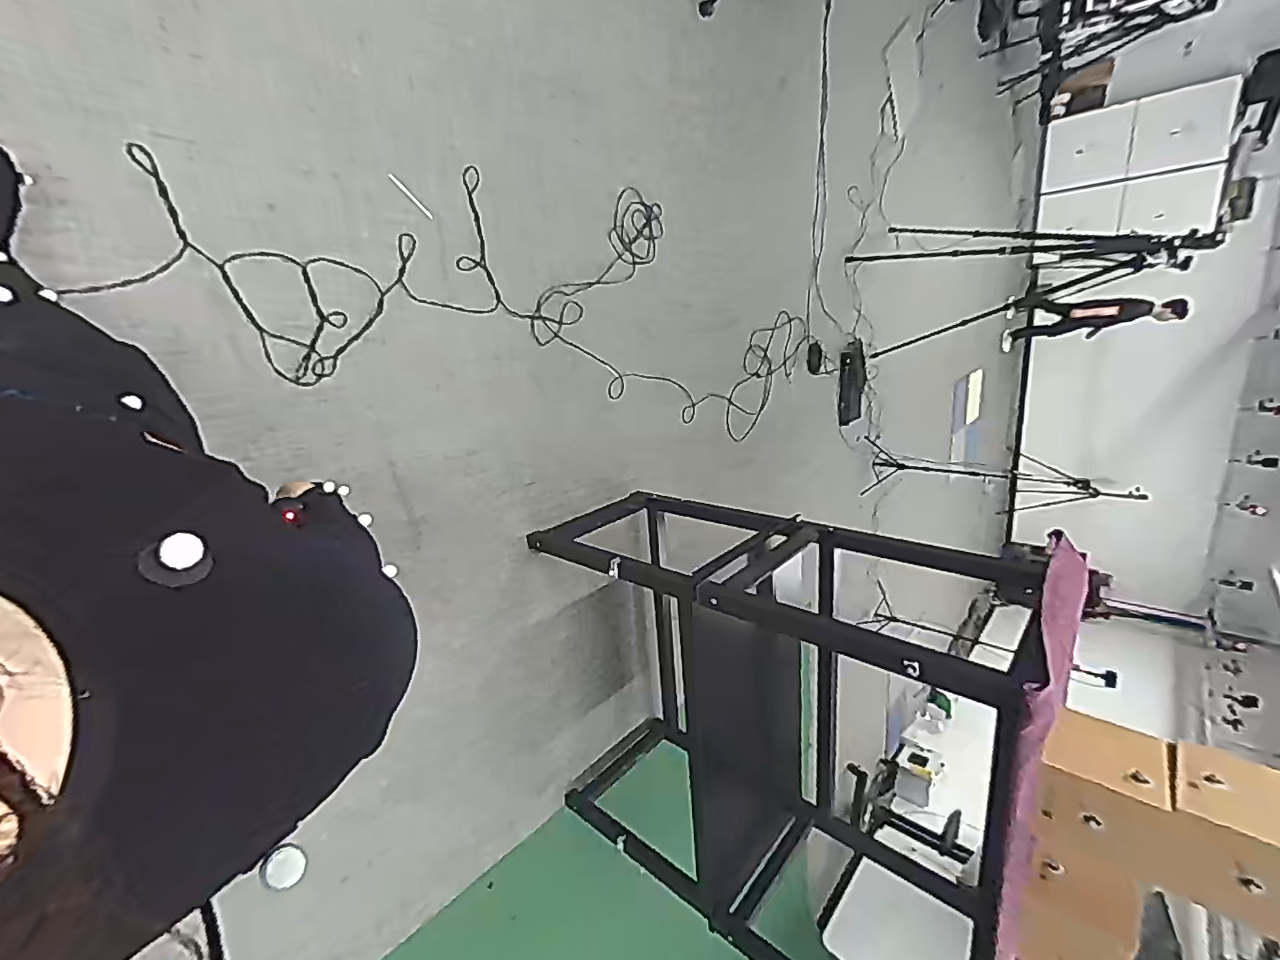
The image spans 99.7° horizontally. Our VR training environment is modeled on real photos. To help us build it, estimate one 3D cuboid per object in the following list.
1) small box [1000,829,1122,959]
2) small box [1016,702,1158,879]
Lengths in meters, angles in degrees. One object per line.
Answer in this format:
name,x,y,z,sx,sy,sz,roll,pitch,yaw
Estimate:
small box,0.832,0.853,1.076,0.168,0.176,0.179,-23,113,-44
small box,0.786,0.534,0.958,0.179,0.176,0.168,-23,115,-43
